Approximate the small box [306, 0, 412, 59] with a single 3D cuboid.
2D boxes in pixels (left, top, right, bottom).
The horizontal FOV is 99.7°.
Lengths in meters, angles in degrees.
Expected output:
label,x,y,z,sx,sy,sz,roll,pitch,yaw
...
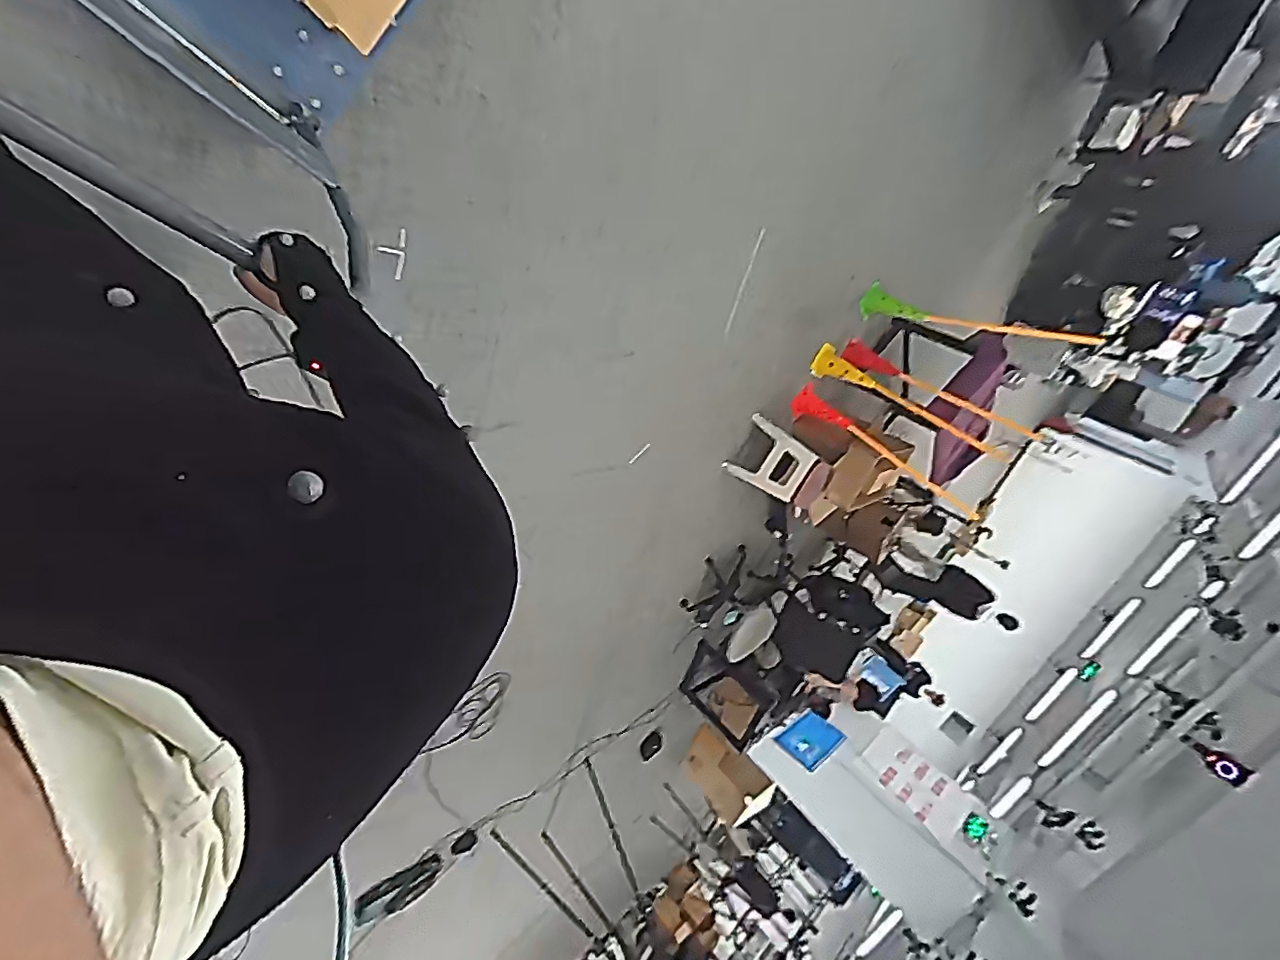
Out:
label,x,y,z,sx,sy,sz,roll,pitch,yaw
small box,-0.495,-0.865,0.899,0.179,0.176,0.168,-45,147,11
